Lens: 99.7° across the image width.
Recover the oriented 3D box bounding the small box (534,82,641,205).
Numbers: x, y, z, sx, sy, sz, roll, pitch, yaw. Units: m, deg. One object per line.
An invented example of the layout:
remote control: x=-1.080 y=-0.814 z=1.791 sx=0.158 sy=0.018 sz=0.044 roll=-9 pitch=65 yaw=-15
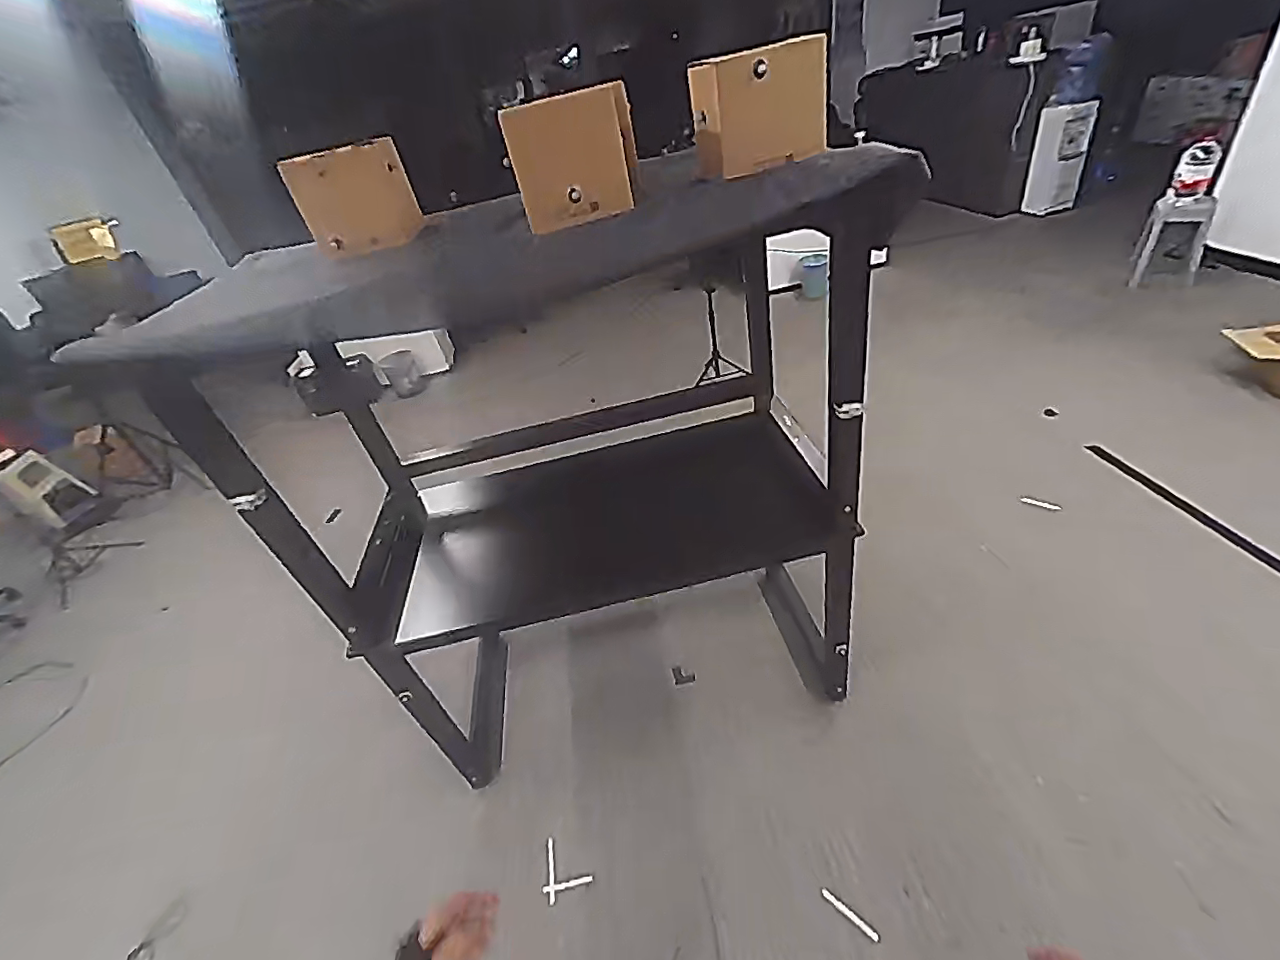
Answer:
small box: x=-0.098 y=-0.647 z=1.046 sx=0.168 sy=0.176 sz=0.179 roll=-13 pitch=36 yaw=1

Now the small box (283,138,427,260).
small box: x=-0.532 y=-0.539 z=1.043 sx=0.168 sy=0.176 sz=0.179 roll=-13 pitch=35 yaw=0
